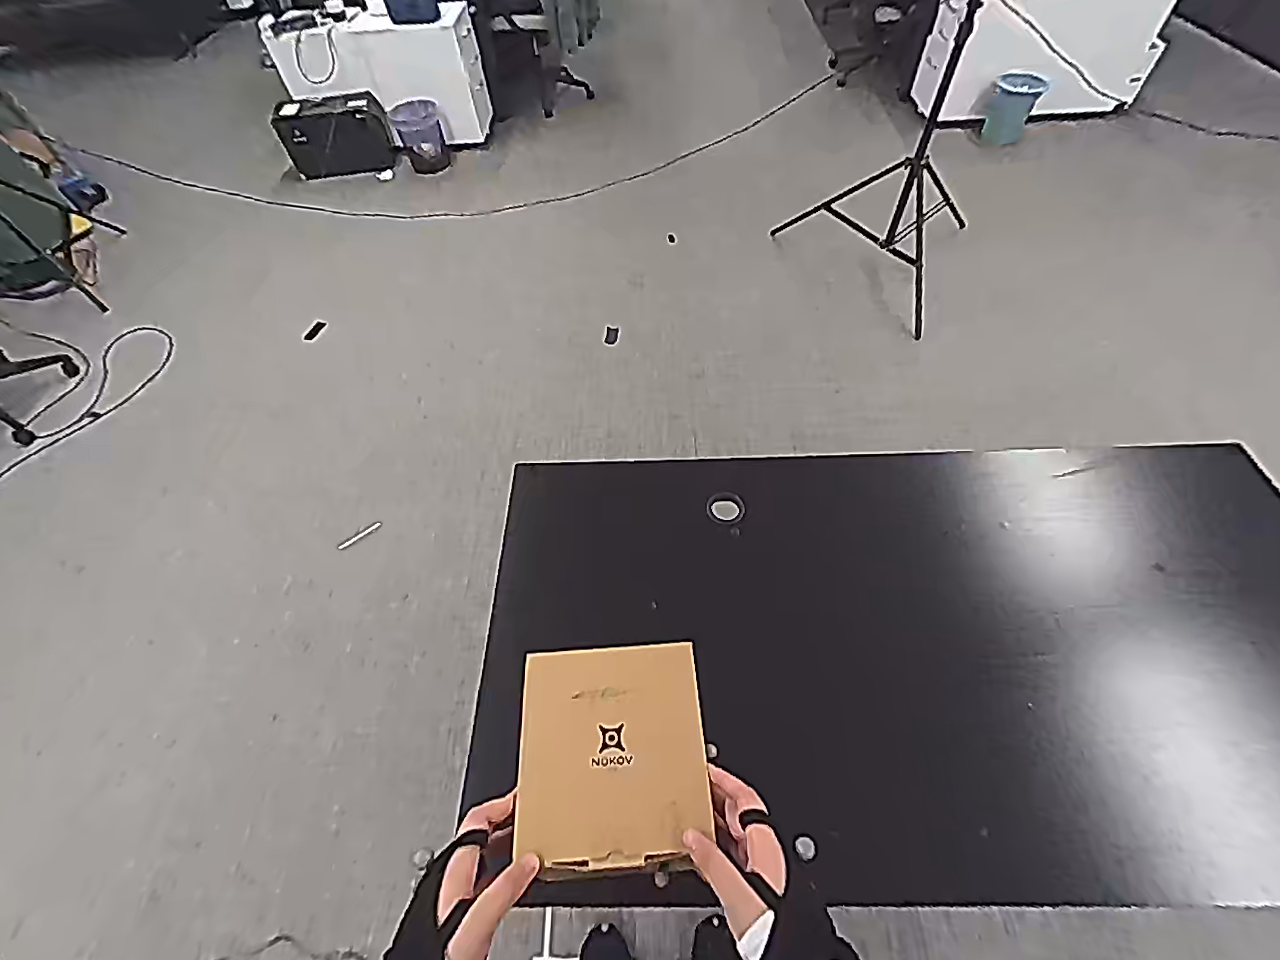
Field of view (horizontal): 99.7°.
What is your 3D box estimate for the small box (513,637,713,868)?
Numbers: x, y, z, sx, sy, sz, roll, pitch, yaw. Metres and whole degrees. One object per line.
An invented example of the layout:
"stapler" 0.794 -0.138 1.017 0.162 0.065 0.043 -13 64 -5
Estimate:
"small box" -0.024 0.279 0.545 0.168 0.176 0.179 -4 51 -2
